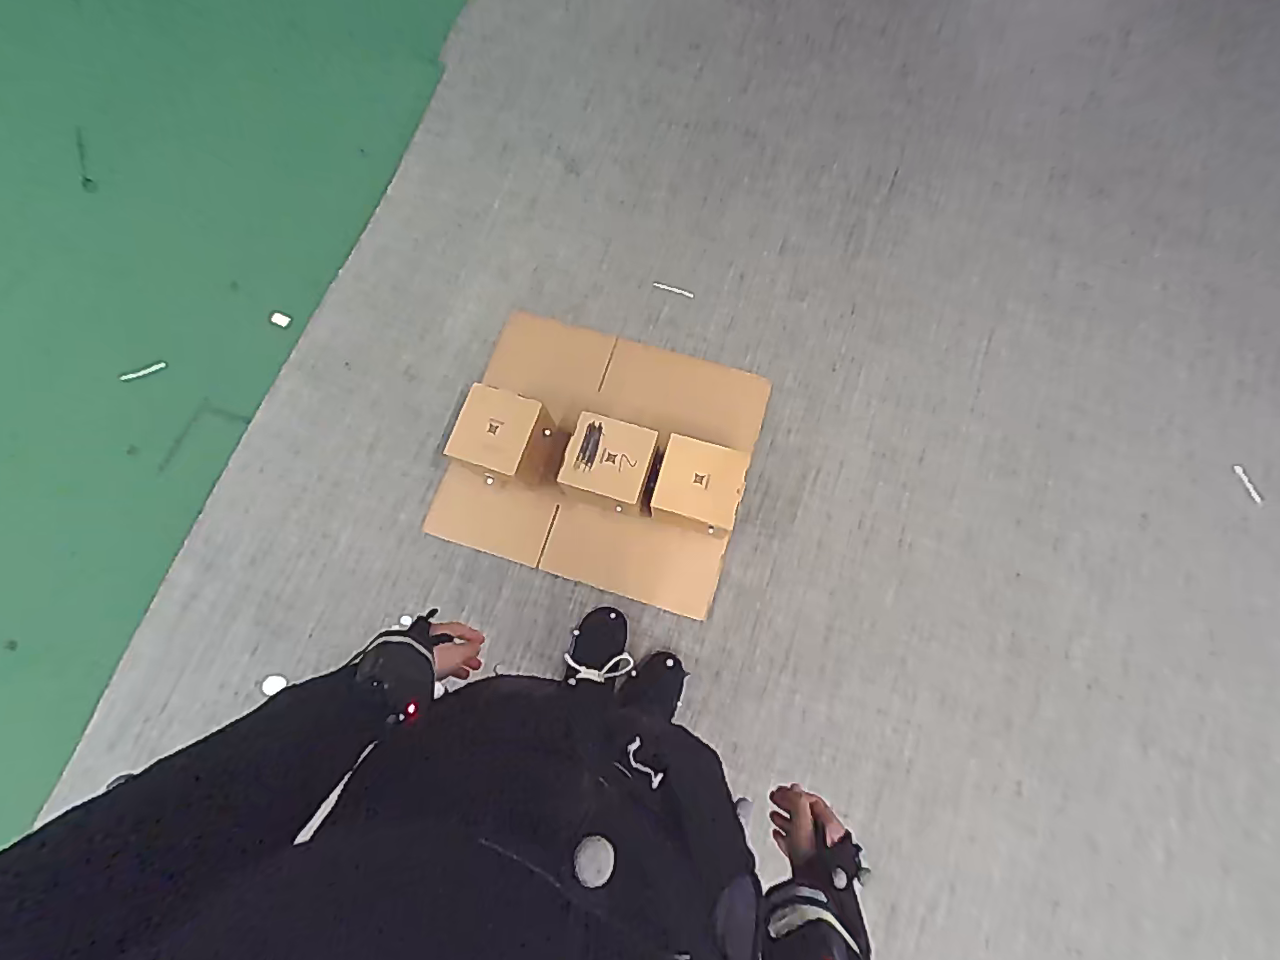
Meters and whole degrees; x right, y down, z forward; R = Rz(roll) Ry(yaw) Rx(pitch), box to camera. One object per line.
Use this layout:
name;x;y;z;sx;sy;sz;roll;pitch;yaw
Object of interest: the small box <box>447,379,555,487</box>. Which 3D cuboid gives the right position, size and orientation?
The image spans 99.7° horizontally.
small box;-0.304;-0.100;1.228;0.168;0.176;0.179;17;79;7
